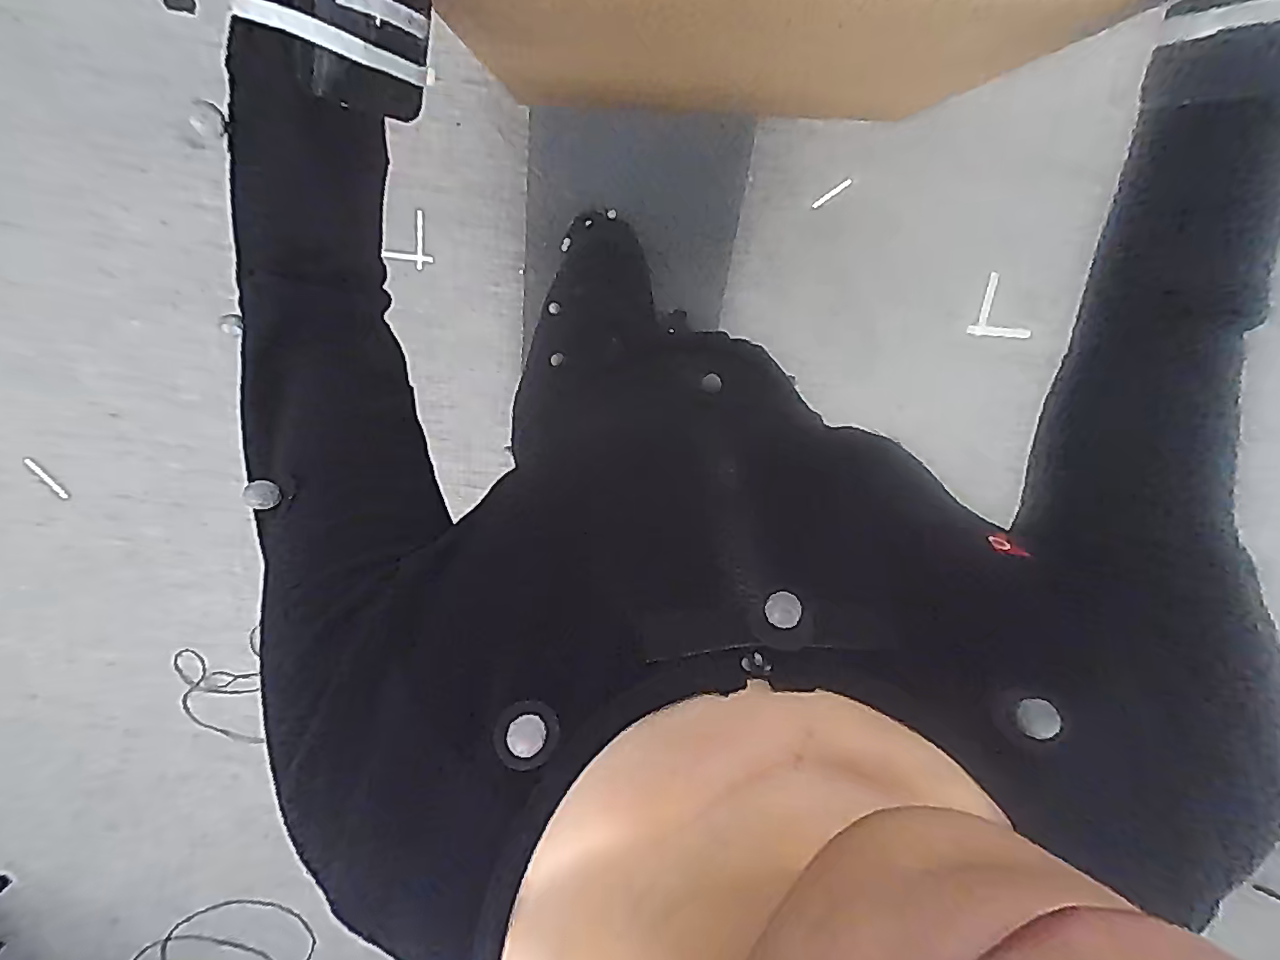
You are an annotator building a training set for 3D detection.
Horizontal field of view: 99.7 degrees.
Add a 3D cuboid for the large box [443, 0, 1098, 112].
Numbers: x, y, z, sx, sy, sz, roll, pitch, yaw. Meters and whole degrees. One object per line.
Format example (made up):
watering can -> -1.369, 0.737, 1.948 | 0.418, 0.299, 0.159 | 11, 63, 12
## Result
large box -> 0.074, -0.465, 0.365 | 0.408, 0.320, 0.320 | 1, 114, -1
